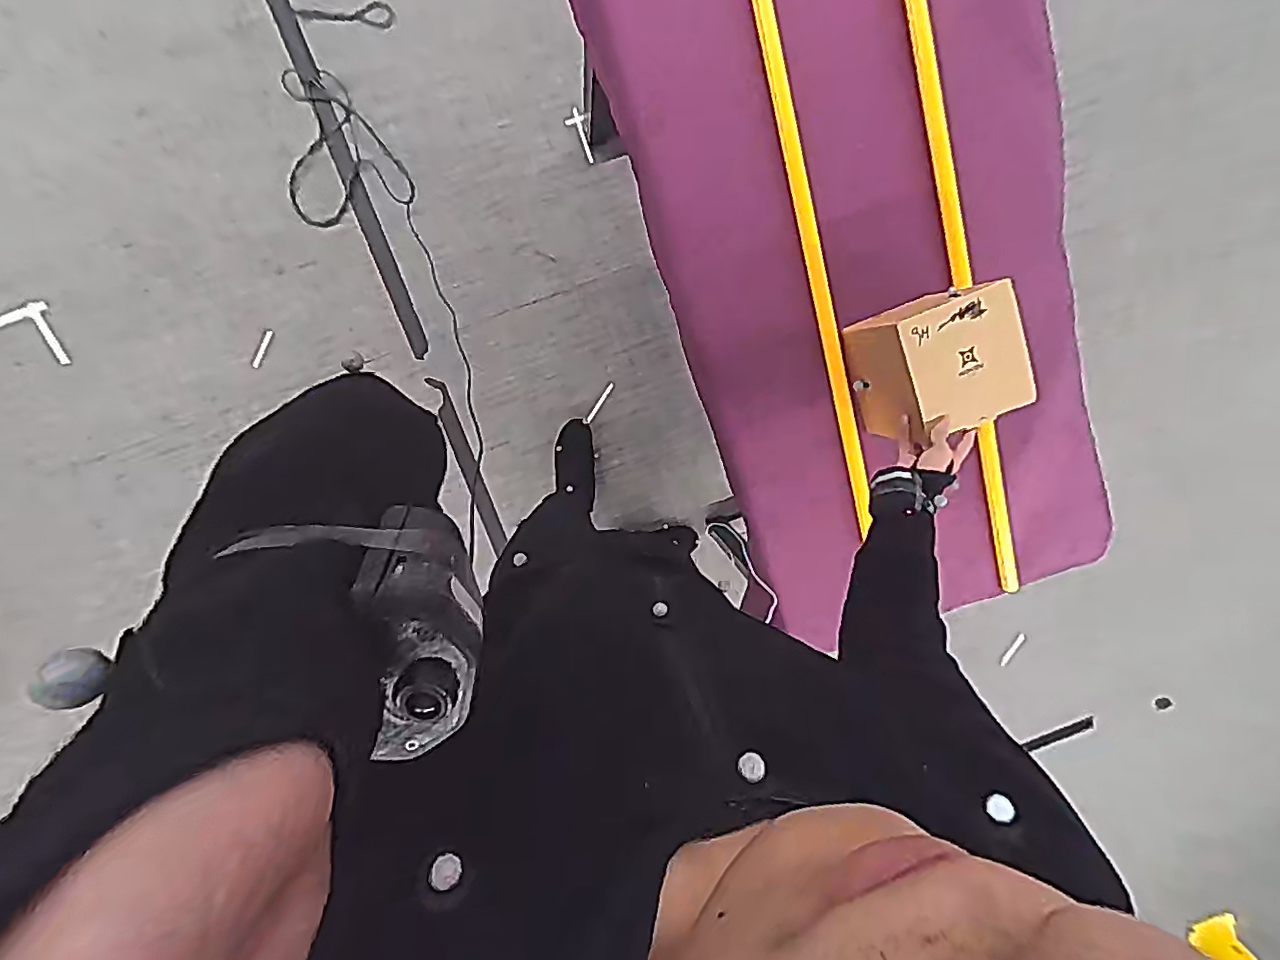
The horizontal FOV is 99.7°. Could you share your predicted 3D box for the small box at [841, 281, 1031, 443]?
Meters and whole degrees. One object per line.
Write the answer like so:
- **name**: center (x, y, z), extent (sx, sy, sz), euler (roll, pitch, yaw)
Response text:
- **small box**: center (0.428, -0.174, 0.802), extent (0.168, 0.176, 0.179), euler (-21, 104, -2)
